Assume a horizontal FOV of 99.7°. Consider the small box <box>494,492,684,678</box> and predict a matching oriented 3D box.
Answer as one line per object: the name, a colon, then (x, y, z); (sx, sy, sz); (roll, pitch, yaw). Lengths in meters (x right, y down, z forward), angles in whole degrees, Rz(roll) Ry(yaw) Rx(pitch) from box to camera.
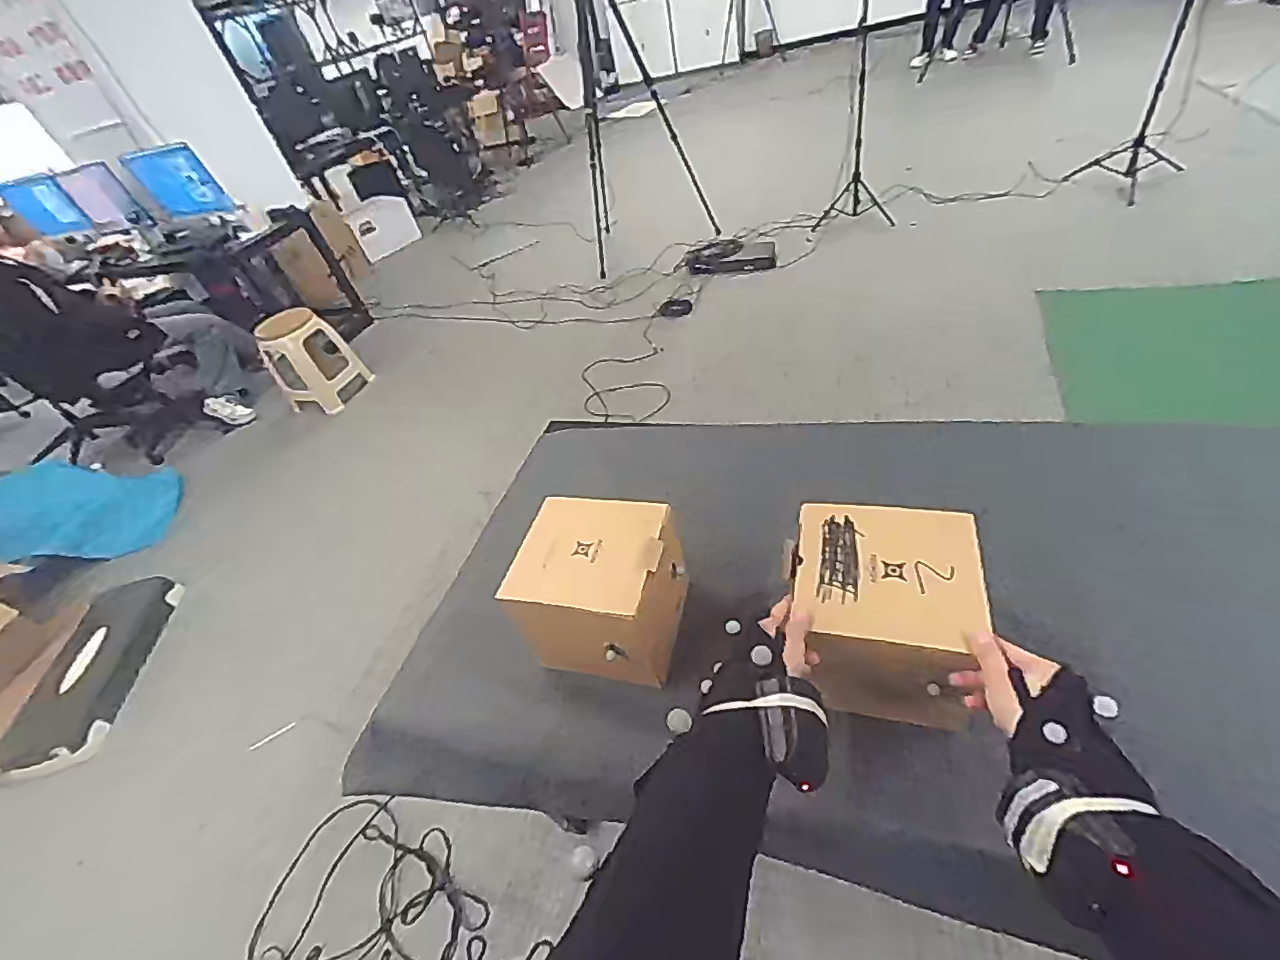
small box: (-0.050, 0.135, 0.698); (0.179, 0.176, 0.168); (2, 45, 20)
